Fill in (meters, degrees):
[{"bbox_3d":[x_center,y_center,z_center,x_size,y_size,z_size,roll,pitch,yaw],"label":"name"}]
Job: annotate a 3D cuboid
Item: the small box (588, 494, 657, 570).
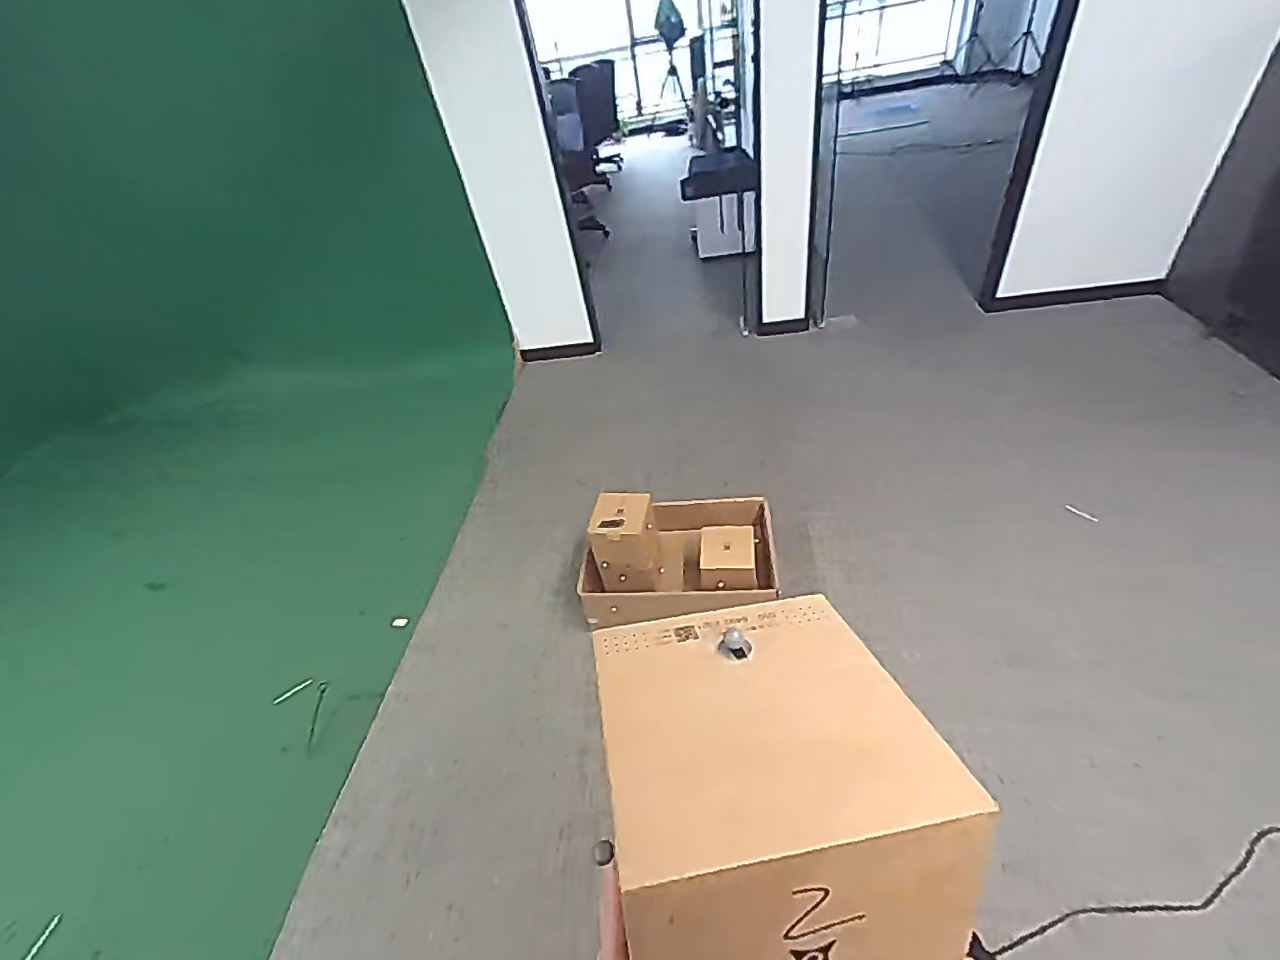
[{"bbox_3d":[-0.047,0.163,1.691,0.168,0.176,0.179,1,41,13],"label":"small box"}]
